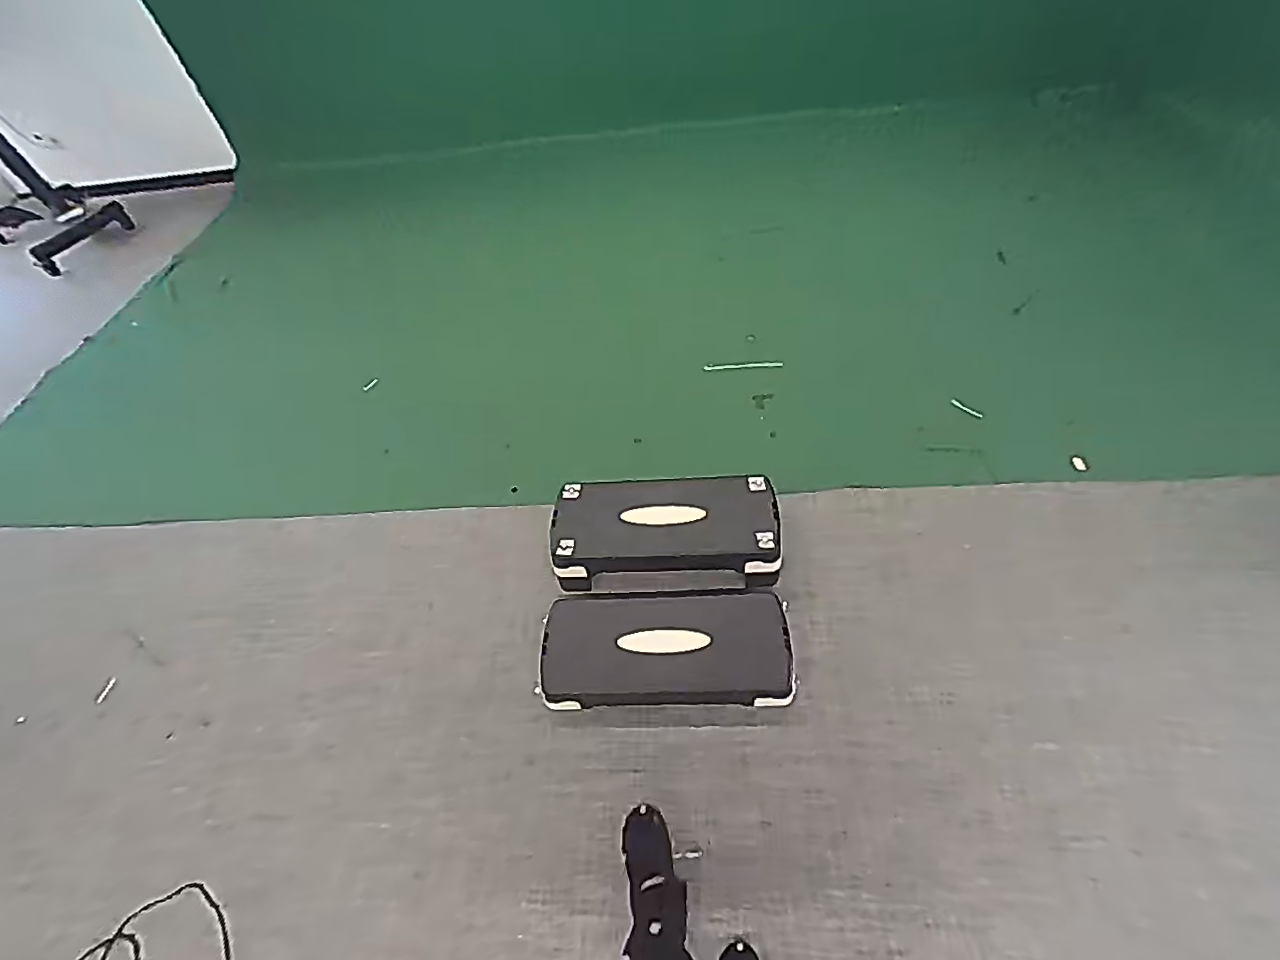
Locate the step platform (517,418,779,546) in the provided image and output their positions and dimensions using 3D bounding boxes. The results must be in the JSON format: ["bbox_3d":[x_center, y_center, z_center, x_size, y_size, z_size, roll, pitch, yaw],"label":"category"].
[{"bbox_3d":[0.023,0.009,1.492,0.684,0.204,0.286,-3,52,6],"label":"step platform"}]
